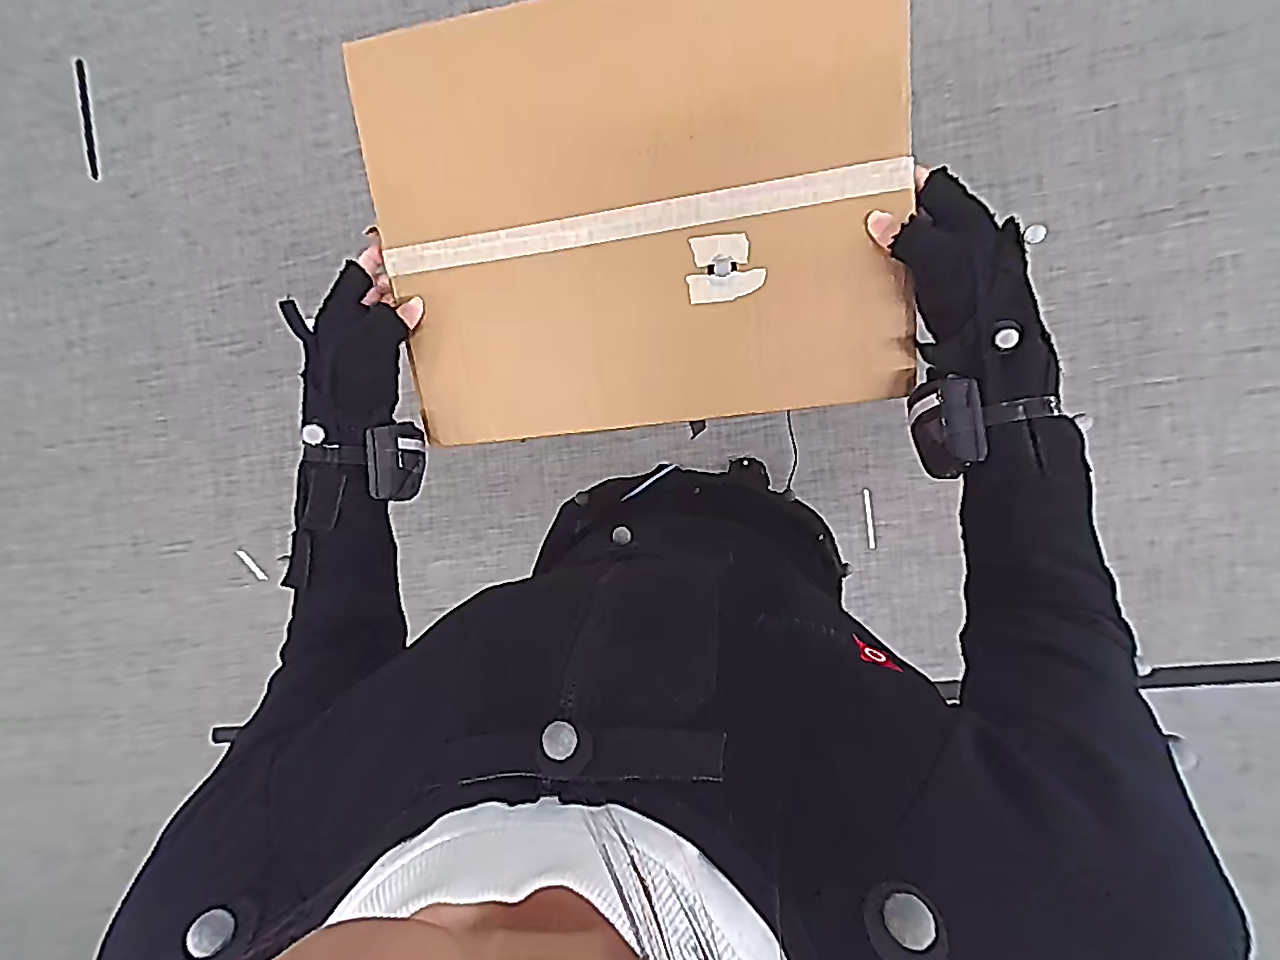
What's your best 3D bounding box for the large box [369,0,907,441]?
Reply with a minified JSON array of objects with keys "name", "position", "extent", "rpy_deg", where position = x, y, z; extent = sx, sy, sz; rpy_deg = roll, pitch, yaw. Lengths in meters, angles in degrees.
[{"name":"large box","position":[0.015,-0.237,0.572],"extent":[0.408,0.320,0.320],"rpy_deg":[-6,103,9]}]
